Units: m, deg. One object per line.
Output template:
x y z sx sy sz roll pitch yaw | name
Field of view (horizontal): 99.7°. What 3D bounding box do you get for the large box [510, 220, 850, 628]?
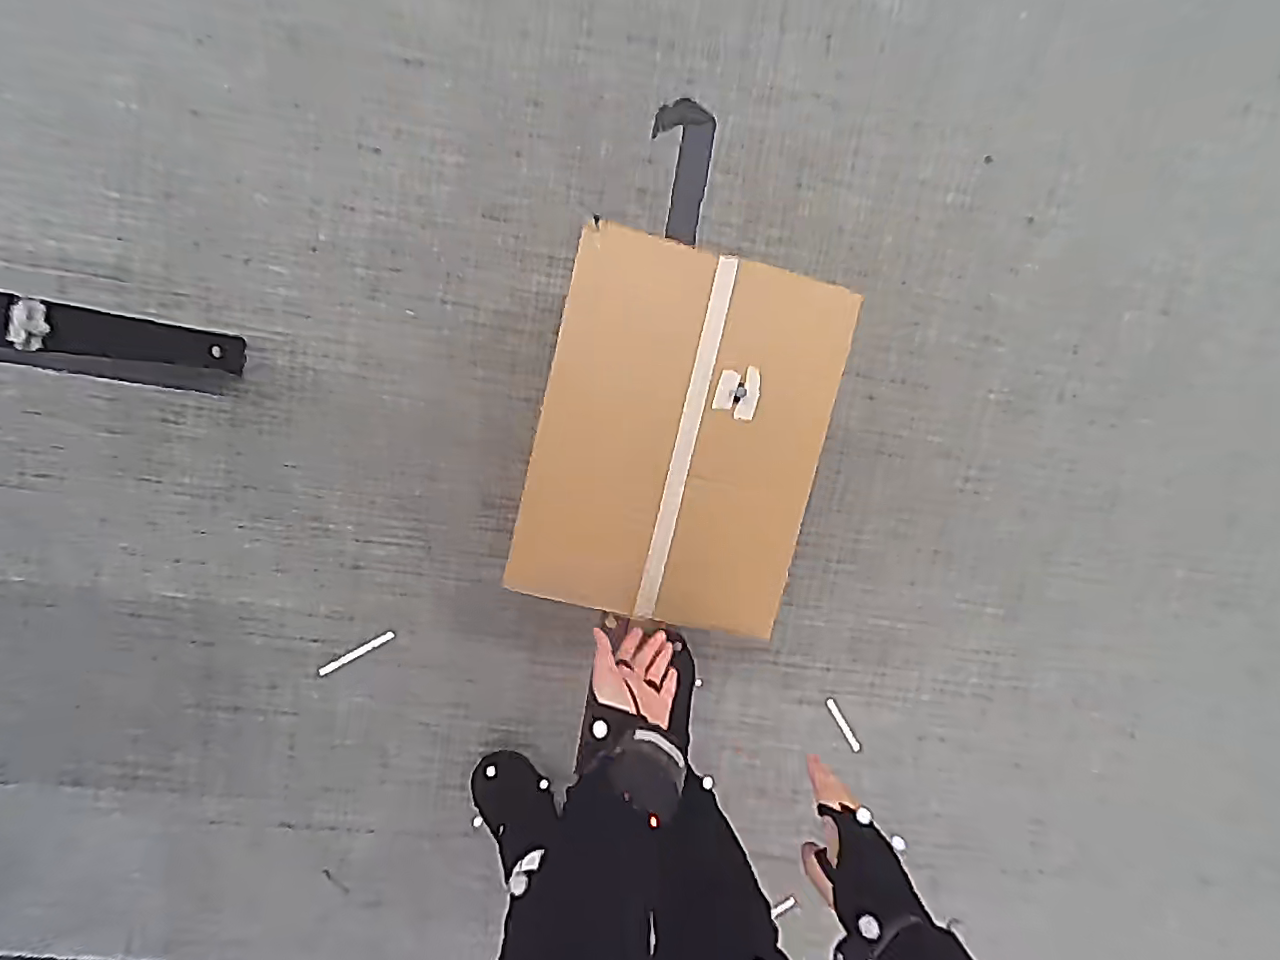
0.032 -0.062 0.742 0.320 0.320 0.408 13 95 -7 | large box
